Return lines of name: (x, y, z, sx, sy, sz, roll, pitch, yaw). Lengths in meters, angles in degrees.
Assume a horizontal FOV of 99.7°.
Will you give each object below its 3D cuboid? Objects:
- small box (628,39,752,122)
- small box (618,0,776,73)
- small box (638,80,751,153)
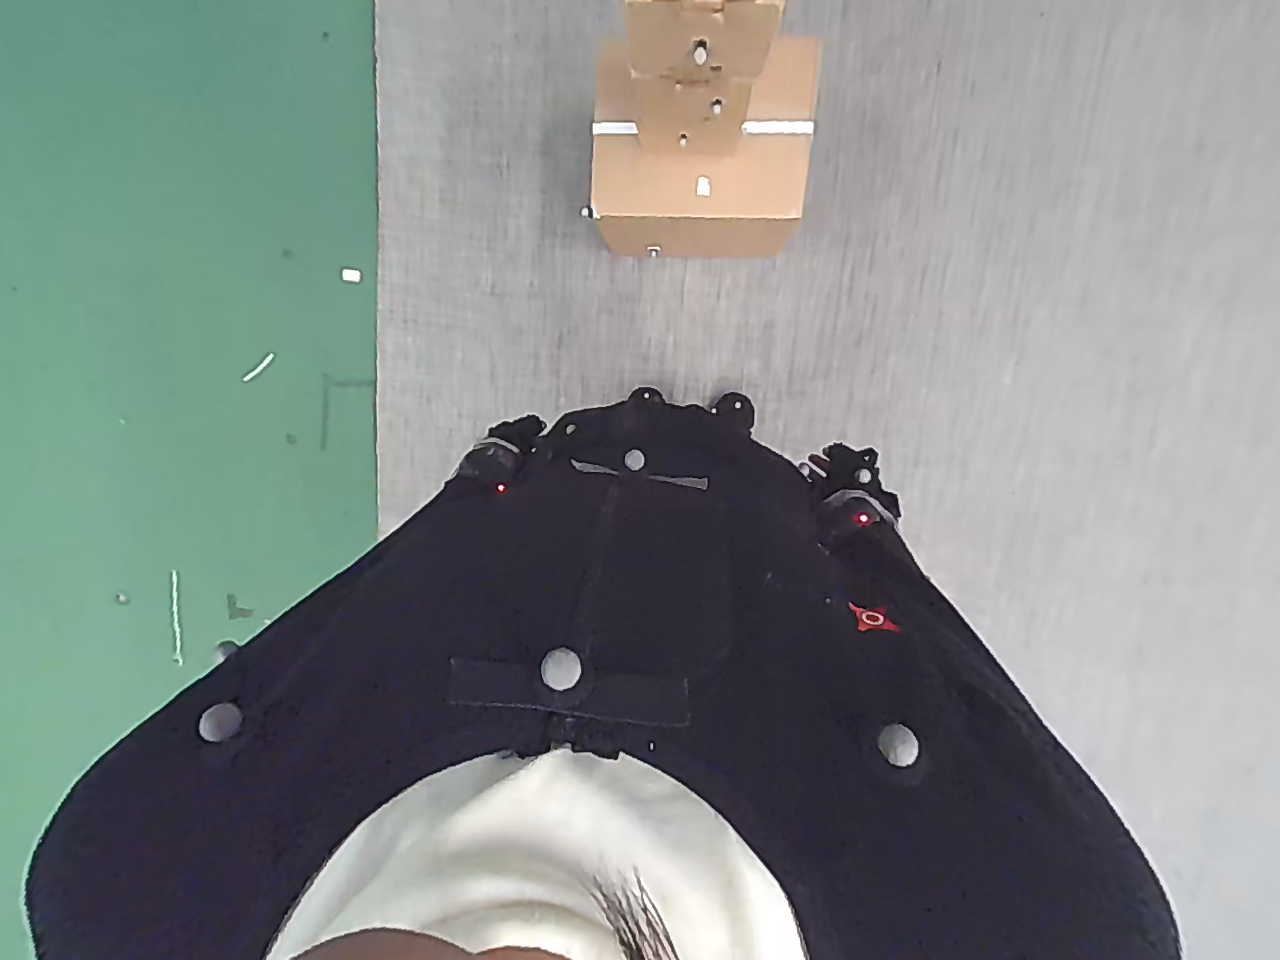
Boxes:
small box: (0.078, -0.628, 0.758, 0.168, 0.176, 0.179, 4, 105, 5)
small box: (0.072, -0.585, 0.600, 0.168, 0.176, 0.179, 5, 107, 5)
small box: (0.094, -0.670, 0.914, 0.179, 0.176, 0.168, 4, 106, 5)
